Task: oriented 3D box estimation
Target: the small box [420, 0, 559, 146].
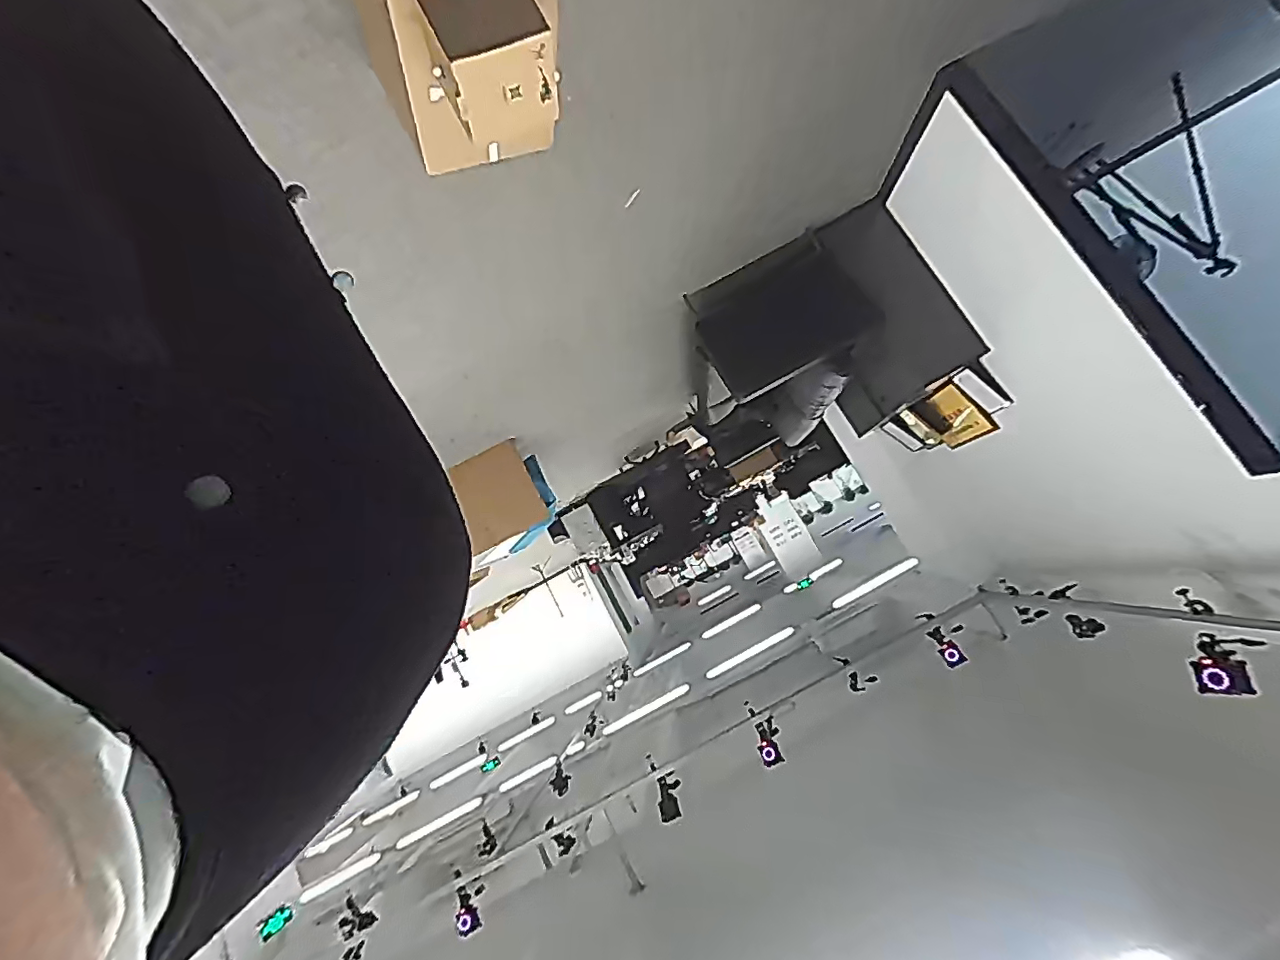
[{"bbox_3d":[-0.259,-0.735,0.937,0.179,0.176,0.168,-26,170,-10],"label":"small box"}]
